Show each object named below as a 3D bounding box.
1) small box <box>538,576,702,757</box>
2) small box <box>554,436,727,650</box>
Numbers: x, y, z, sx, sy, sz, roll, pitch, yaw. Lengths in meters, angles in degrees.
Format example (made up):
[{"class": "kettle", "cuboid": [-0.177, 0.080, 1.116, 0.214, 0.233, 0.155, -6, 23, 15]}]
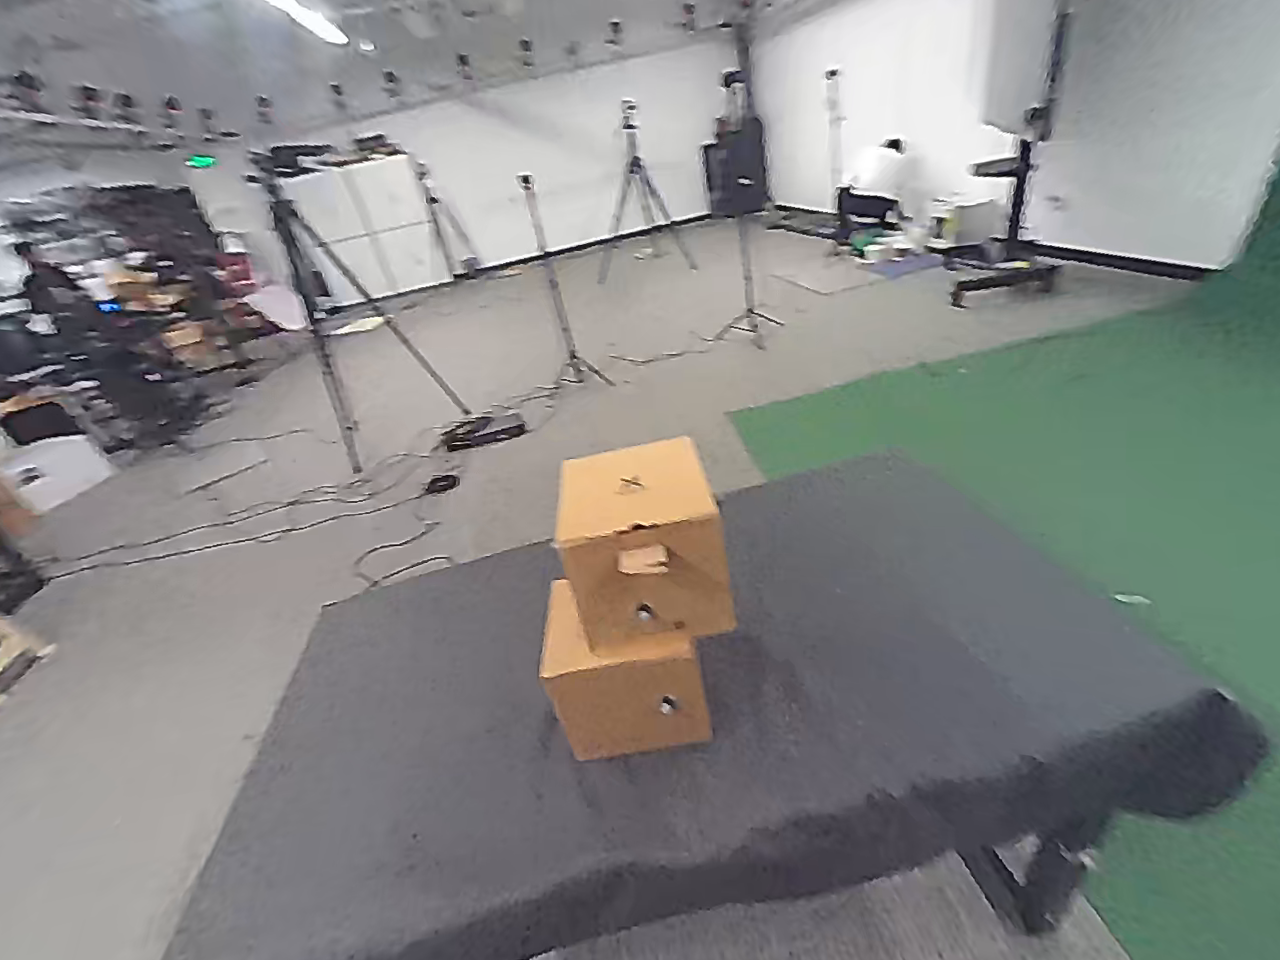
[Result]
[{"class": "small box", "cuboid": [-0.018, 0.231, 0.709, 0.179, 0.176, 0.168, -12, 30, 3]}, {"class": "small box", "cuboid": [0.002, 0.071, 0.647, 0.168, 0.176, 0.179, -11, 31, 1]}]
